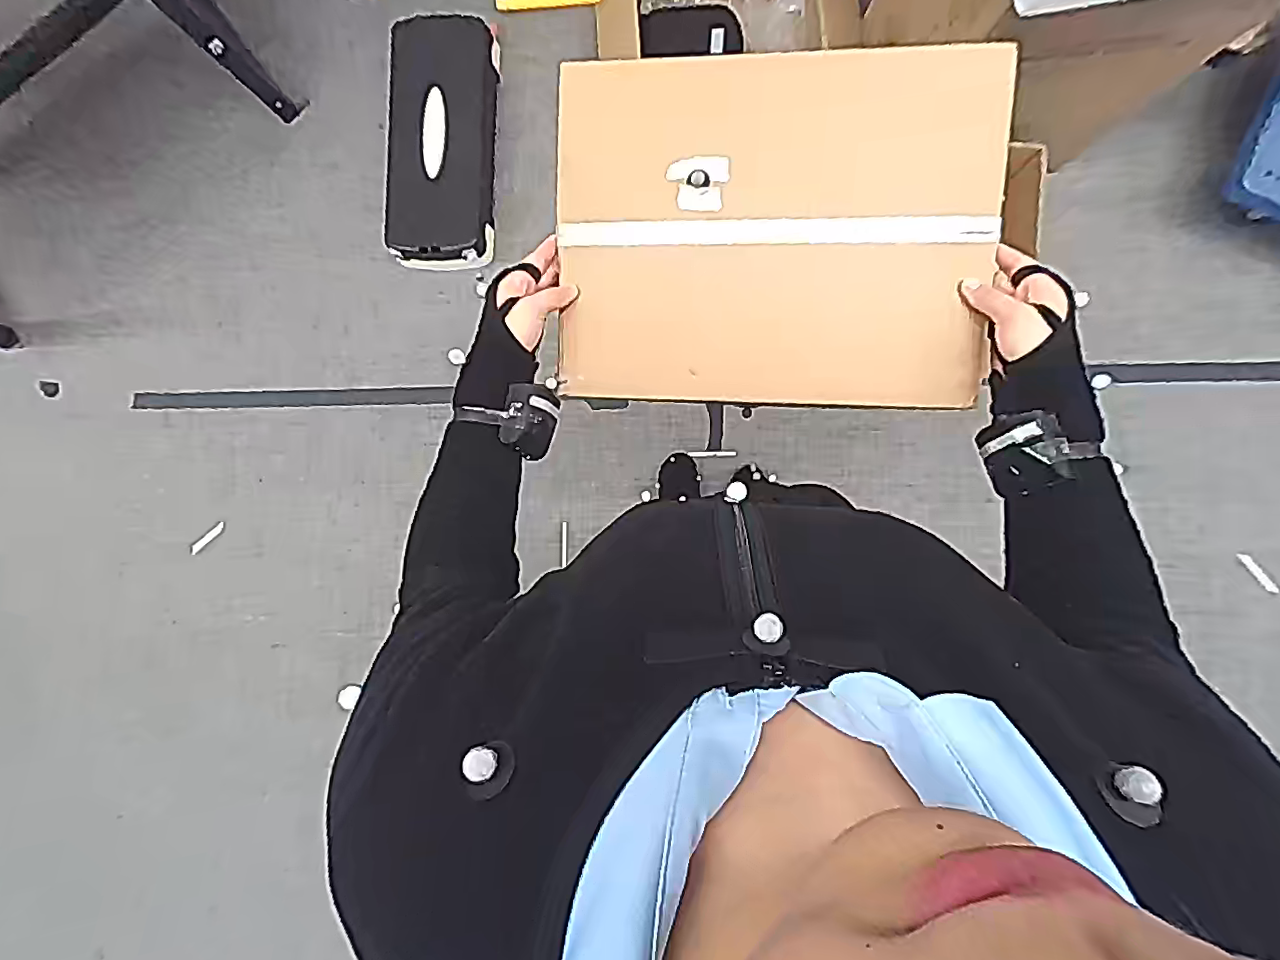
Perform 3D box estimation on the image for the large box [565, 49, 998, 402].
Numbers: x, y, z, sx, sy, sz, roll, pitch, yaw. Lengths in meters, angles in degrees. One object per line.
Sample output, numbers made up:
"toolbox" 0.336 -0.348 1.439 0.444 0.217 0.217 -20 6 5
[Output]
"large box" 0.143 -0.254 0.669 0.408 0.320 0.320 2 96 8
